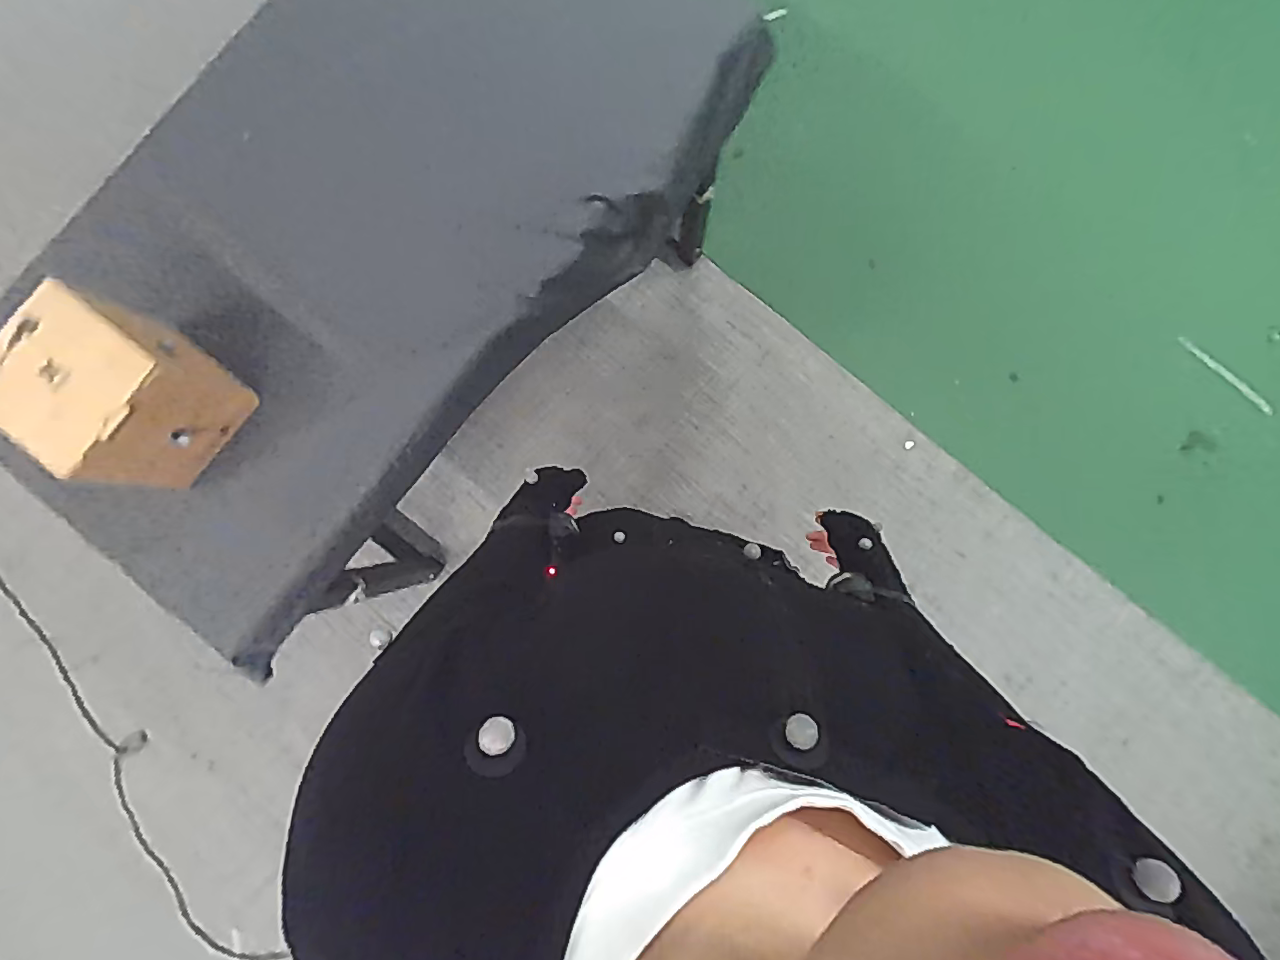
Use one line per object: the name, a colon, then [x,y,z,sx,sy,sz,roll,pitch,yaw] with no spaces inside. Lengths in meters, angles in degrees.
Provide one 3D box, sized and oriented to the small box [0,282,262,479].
small box: [-0.654,-0.114,0.705,0.179,0.176,0.168,37,87,3]
